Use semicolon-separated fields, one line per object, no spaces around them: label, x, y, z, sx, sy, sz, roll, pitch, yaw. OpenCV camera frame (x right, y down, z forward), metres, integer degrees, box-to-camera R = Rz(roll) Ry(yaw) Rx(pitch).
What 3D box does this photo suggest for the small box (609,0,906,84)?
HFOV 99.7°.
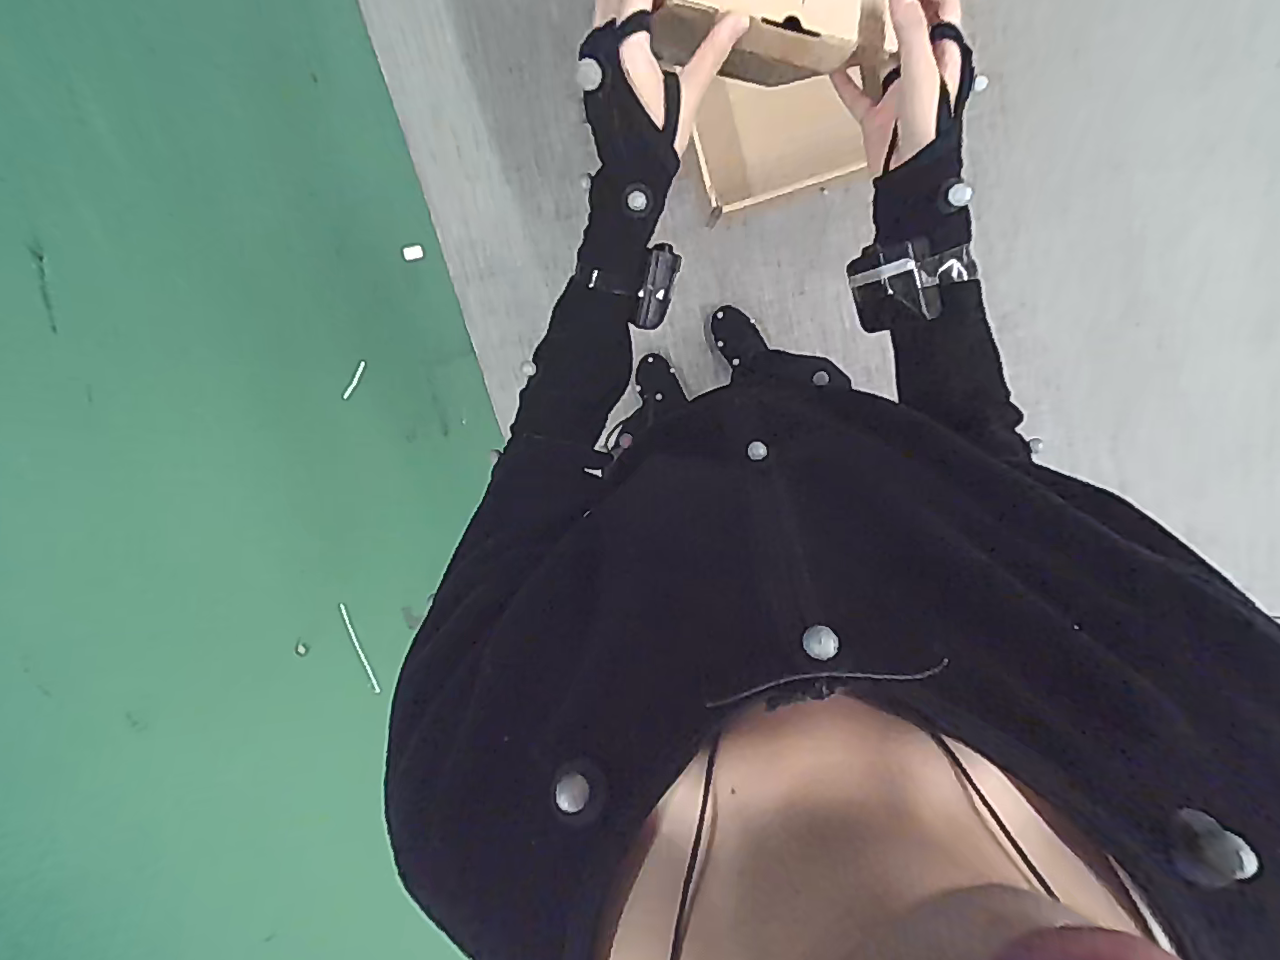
small box;0.083;-0.401;0.375;0.168;0.176;0.179;-2;119;-21
